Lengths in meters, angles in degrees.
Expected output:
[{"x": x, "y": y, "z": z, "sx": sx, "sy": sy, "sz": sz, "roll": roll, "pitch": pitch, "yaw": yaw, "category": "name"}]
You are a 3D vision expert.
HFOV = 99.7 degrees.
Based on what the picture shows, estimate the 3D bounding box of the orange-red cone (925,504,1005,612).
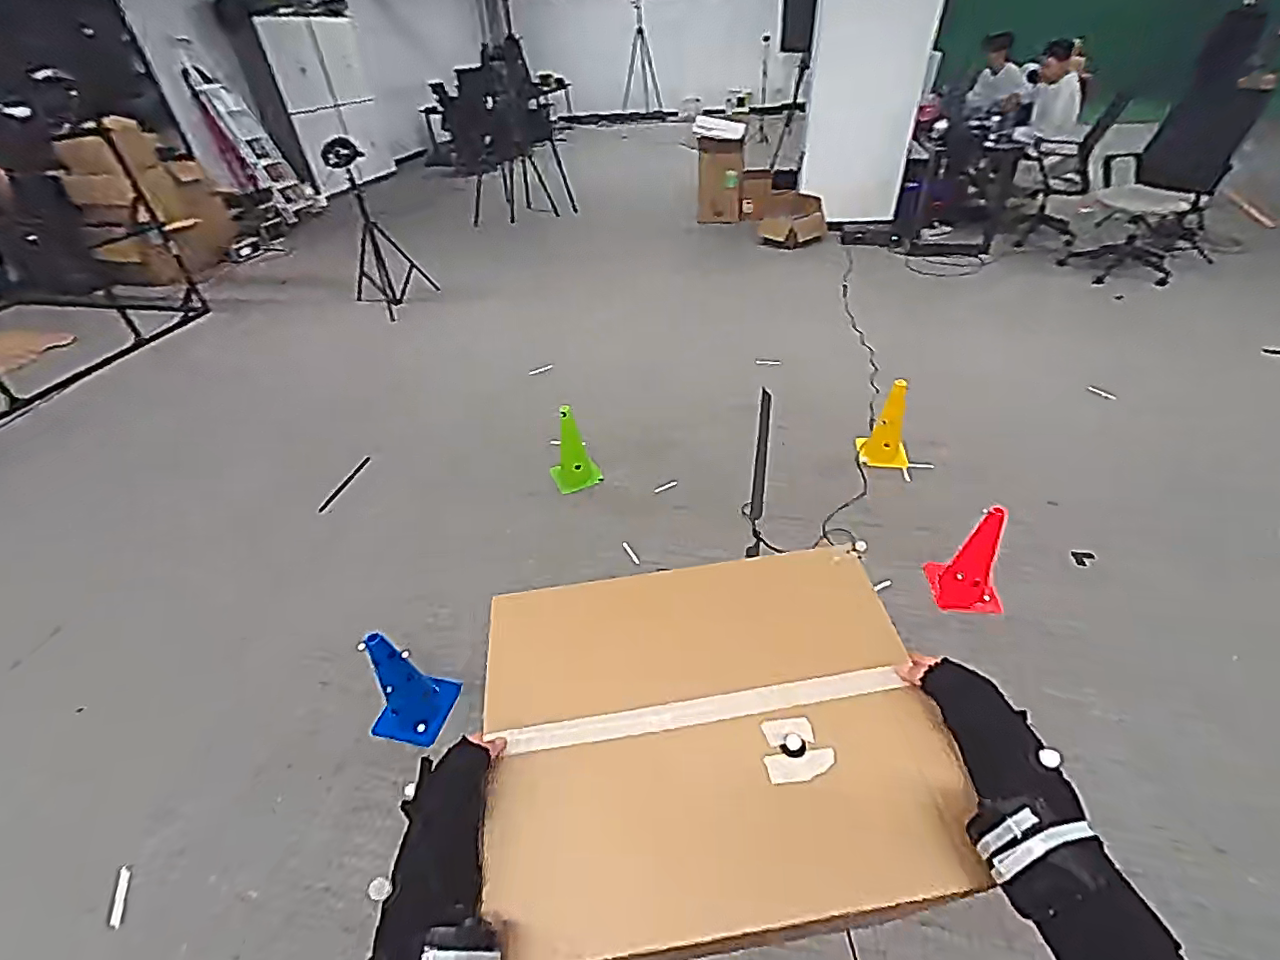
[{"x": 1.067, "y": 0.220, "z": 1.708, "sx": 0.198, "sy": 0.360, "sz": 0.199, "roll": 4, "pitch": 39, "yaw": 9, "category": "orange-red cone"}]

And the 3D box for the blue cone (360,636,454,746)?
[{"x": -0.678, "y": 0.560, "z": 1.503, "sx": 0.192, "sy": 0.380, "sz": 0.193, "roll": 6, "pitch": 40, "yaw": 15, "category": "blue cone"}]

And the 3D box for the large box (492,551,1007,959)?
[{"x": 0.073, "y": 0.318, "z": 0.608, "sx": 0.408, "sy": 0.320, "sz": 0.320, "roll": -7, "pitch": 47, "yaw": -3, "category": "large box"}]

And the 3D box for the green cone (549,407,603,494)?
[{"x": -0.303, "y": -0.152, "z": 2.299, "sx": 0.202, "sy": 0.368, "sz": 0.200, "roll": -21, "pitch": 41, "yaw": -16, "category": "green cone"}]
